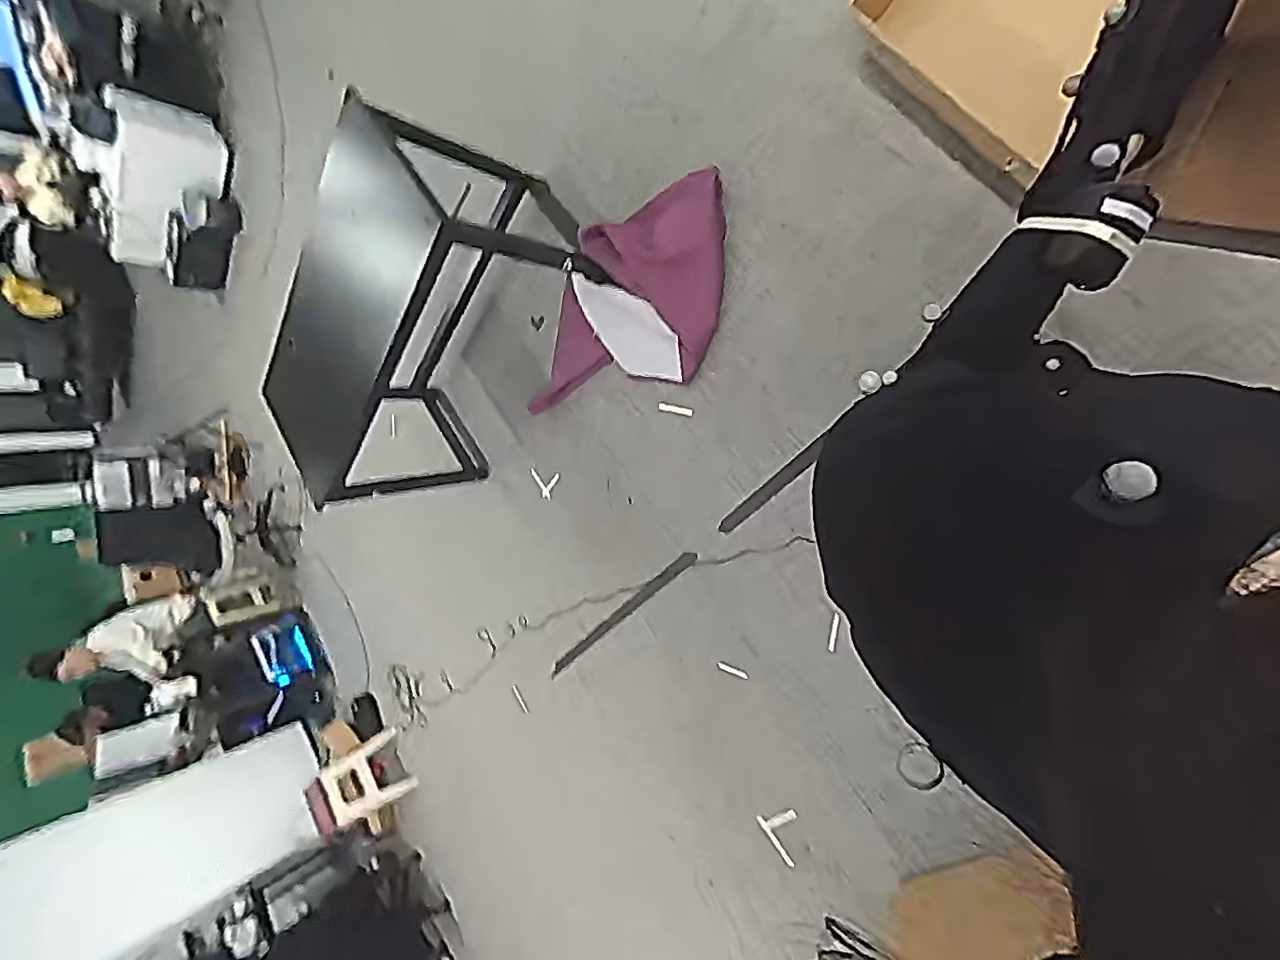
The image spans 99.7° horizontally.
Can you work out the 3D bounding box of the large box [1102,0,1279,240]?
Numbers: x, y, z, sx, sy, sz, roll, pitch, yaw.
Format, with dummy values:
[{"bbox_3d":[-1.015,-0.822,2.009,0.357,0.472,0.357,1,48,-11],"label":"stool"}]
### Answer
[{"bbox_3d":[0.632,-0.332,0.372,0.408,0.320,0.320,27,123,32],"label":"large box"}]
